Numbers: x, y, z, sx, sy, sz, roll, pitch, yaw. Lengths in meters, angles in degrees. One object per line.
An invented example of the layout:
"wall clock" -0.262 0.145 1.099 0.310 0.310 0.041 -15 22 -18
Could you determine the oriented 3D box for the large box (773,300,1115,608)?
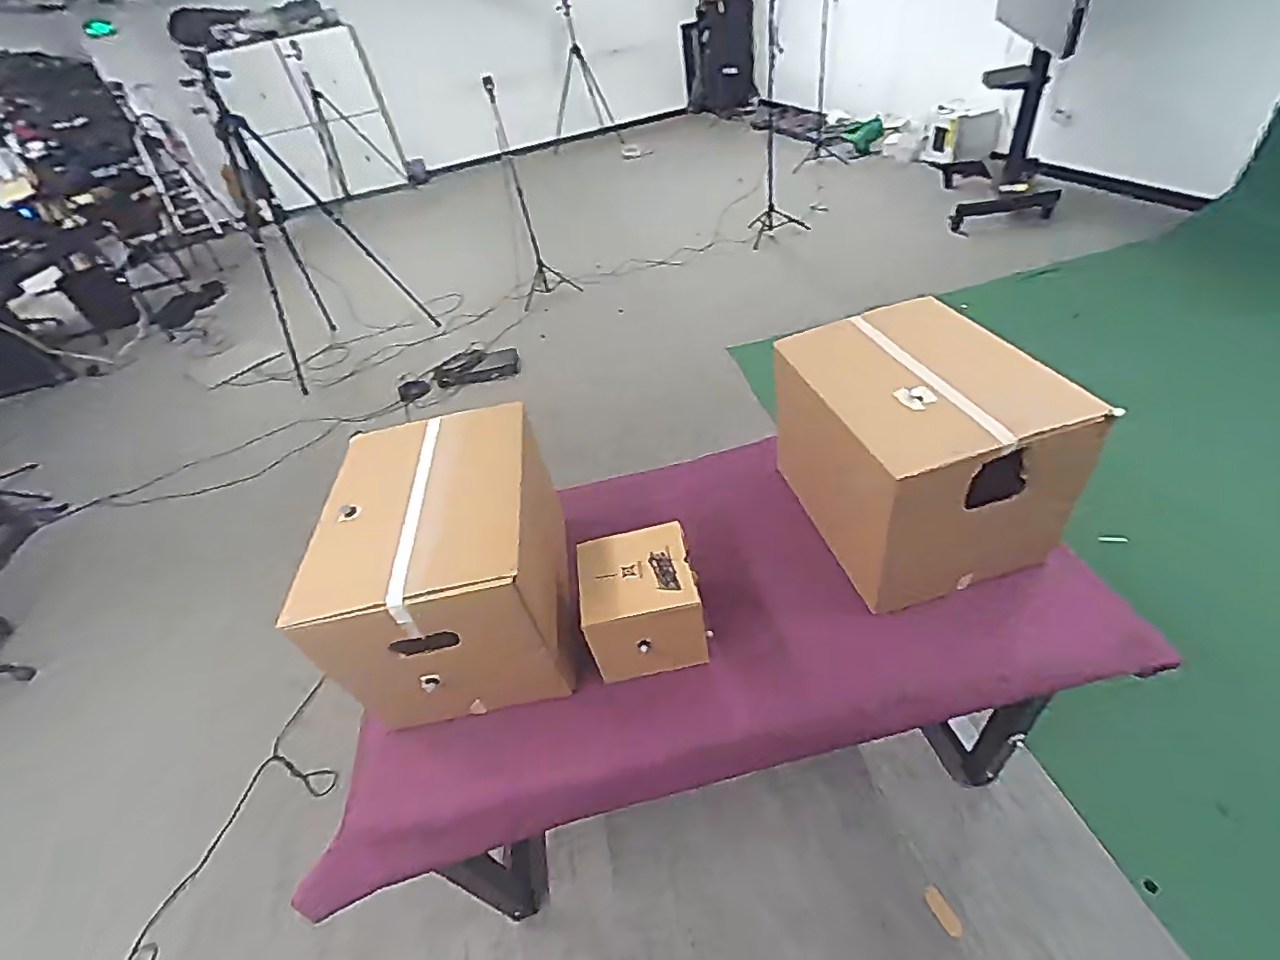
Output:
"large box" 0.456 -0.059 0.942 0.320 0.320 0.408 -17 42 -2
